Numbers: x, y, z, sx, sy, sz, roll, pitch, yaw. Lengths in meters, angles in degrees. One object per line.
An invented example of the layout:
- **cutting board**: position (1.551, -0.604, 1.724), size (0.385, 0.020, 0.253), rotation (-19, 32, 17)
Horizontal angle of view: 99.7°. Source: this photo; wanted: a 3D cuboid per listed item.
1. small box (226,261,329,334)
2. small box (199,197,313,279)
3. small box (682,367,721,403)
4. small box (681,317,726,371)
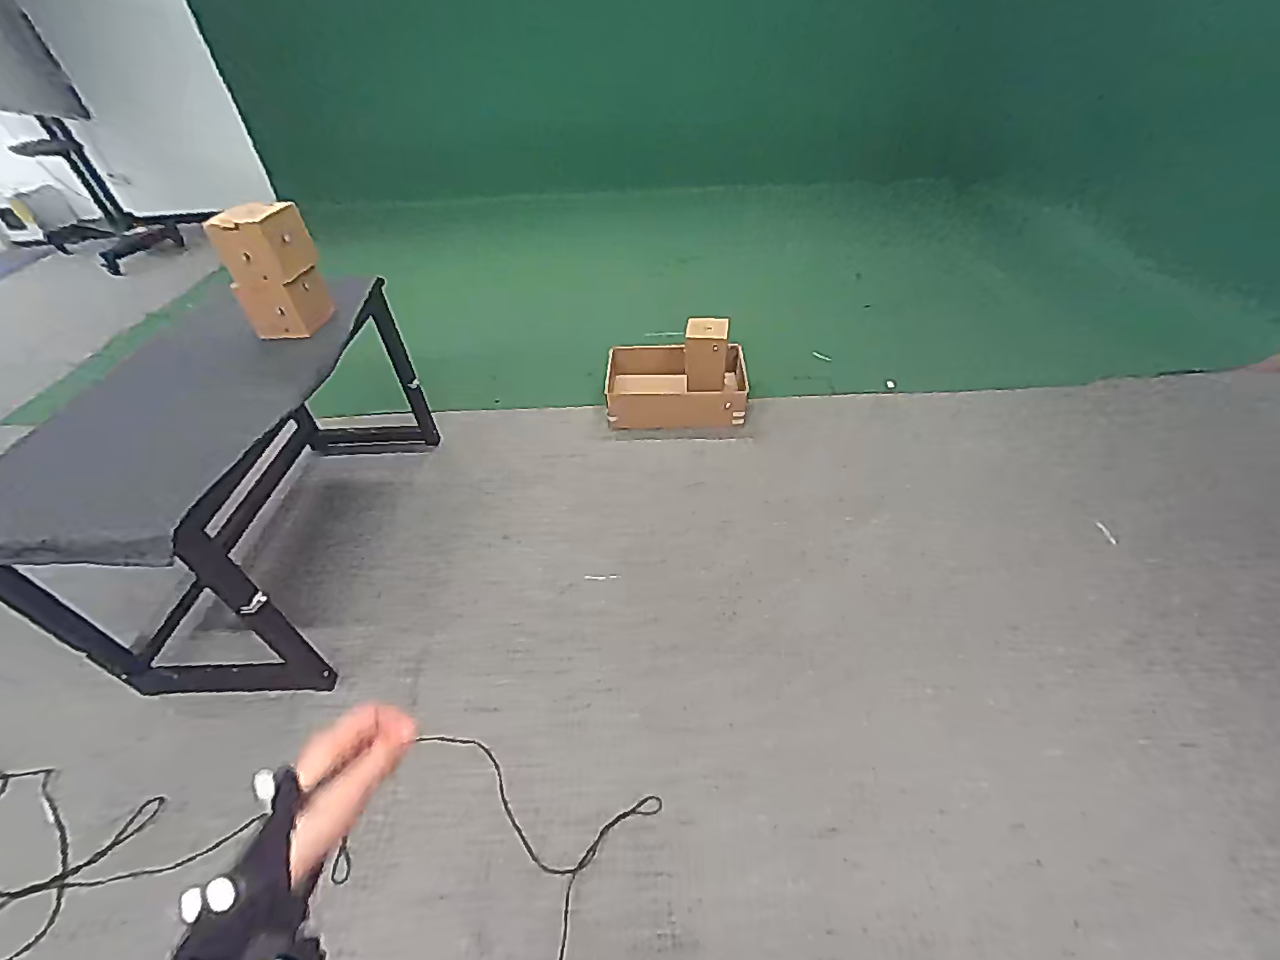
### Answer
- **small box**: position (-1.081, -0.556, 1.636), size (0.168, 0.176, 0.179), rotation (1, 43, 4)
- **small box**: position (-1.072, -0.683, 1.530), size (0.168, 0.176, 0.179), rotation (3, 44, 6)
- **small box**: position (0.282, -0.470, 2.455), size (0.168, 0.176, 0.179), rotation (4, 46, 8)
- **small box**: position (0.274, -0.584, 2.336), size (0.179, 0.176, 0.168), rotation (4, 45, 9)
